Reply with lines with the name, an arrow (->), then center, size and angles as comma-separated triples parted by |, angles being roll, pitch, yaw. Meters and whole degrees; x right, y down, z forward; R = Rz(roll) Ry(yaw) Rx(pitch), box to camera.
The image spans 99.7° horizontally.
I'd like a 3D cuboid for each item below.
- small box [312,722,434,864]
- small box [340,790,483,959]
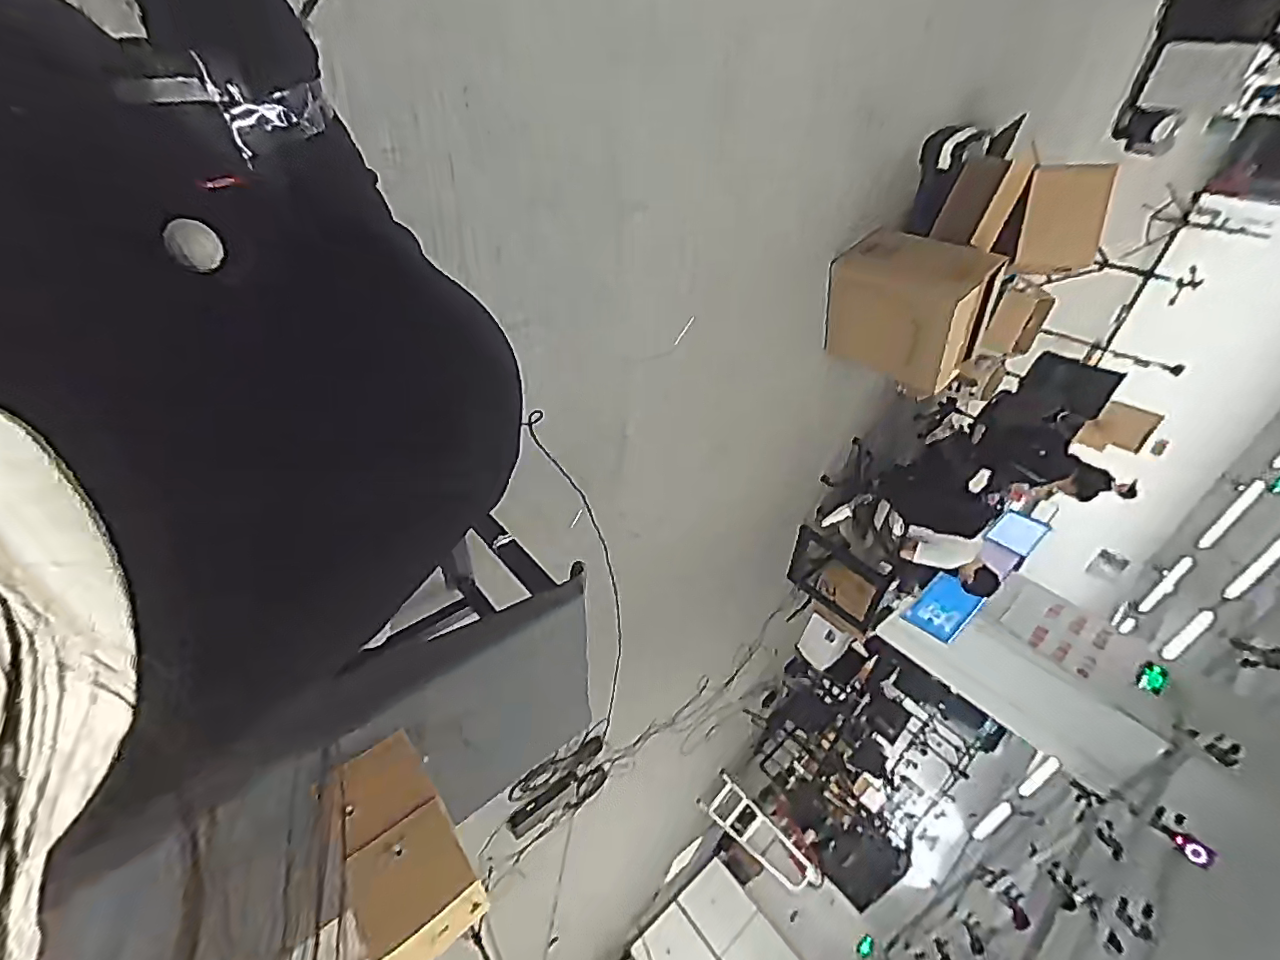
small box -> -0.508, 0.617, 1.048 | 0.179, 0.176, 0.168 | -28, 140, -32
small box -> -0.403, 0.697, 0.951 | 0.179, 0.176, 0.168 | -26, 138, -32
